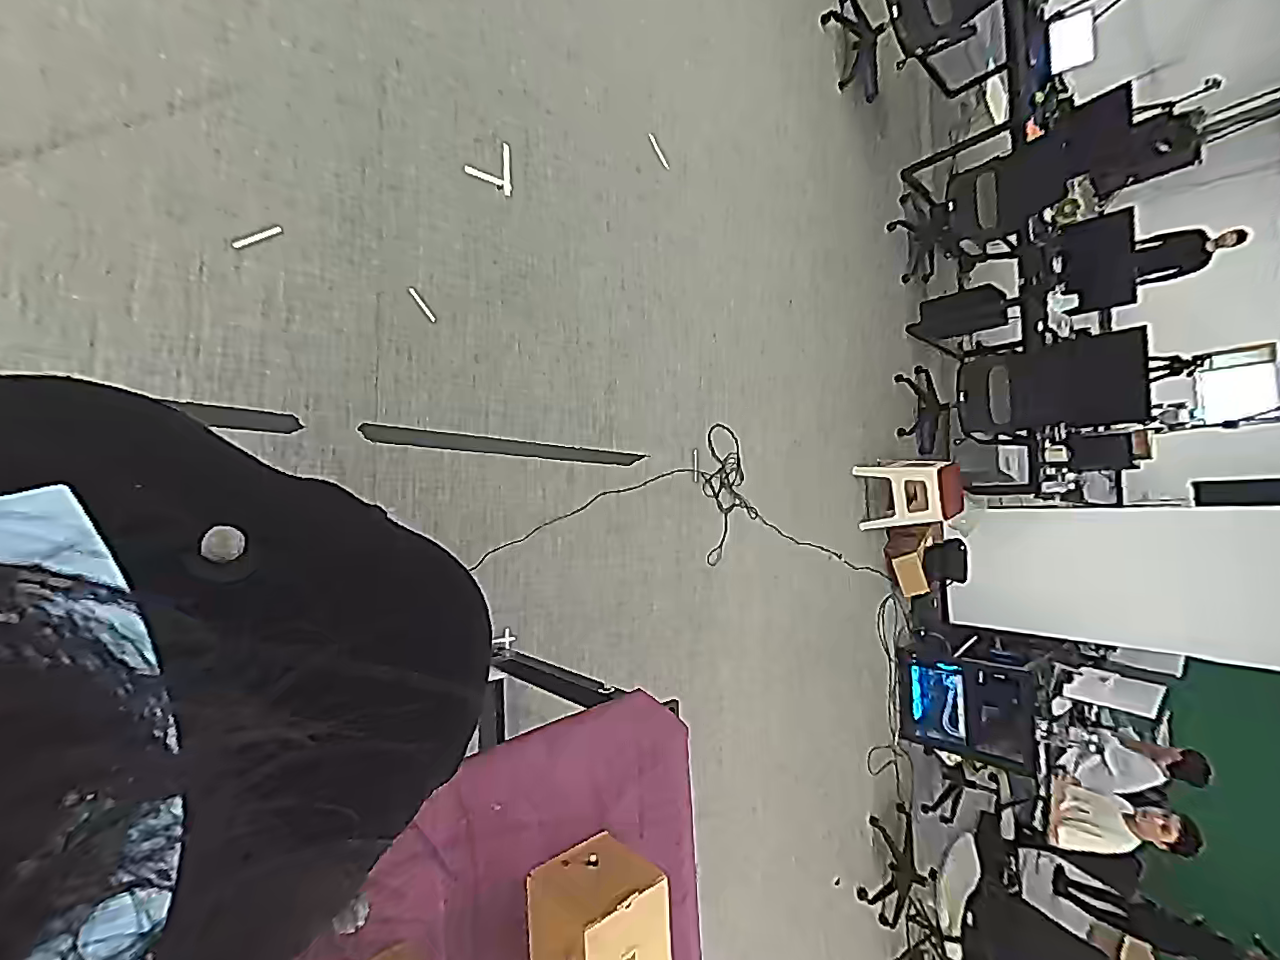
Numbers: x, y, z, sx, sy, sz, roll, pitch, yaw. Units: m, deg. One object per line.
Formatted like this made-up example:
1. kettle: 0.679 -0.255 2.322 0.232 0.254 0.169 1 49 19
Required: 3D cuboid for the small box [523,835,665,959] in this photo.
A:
1. small box: -0.077 0.728 0.877 0.168 0.176 0.179 -1 86 -41
